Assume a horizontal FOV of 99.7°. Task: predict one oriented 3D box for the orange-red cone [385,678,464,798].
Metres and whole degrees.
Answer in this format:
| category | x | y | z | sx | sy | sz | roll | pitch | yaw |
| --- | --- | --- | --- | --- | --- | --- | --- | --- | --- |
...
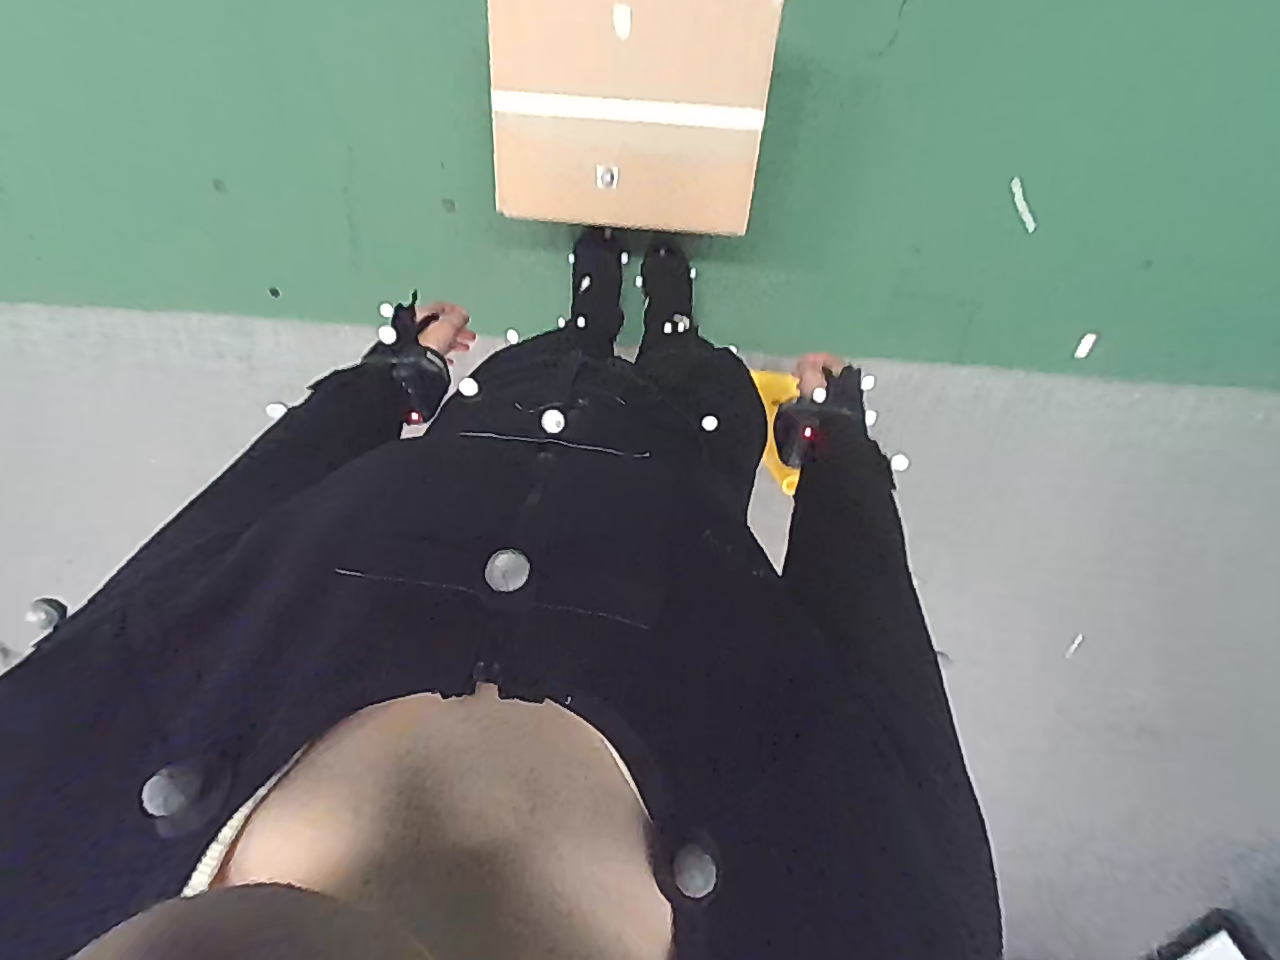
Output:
| category | x | y | z | sx | sy | sz | roll | pitch | yaw |
| --- | --- | --- | --- | --- | --- | --- | --- | --- | --- |
| orange-red cone | -0.769 | 0.893 | 1.833 | 0.199 | 0.360 | 0.198 | 23 | 119 | -8 |
